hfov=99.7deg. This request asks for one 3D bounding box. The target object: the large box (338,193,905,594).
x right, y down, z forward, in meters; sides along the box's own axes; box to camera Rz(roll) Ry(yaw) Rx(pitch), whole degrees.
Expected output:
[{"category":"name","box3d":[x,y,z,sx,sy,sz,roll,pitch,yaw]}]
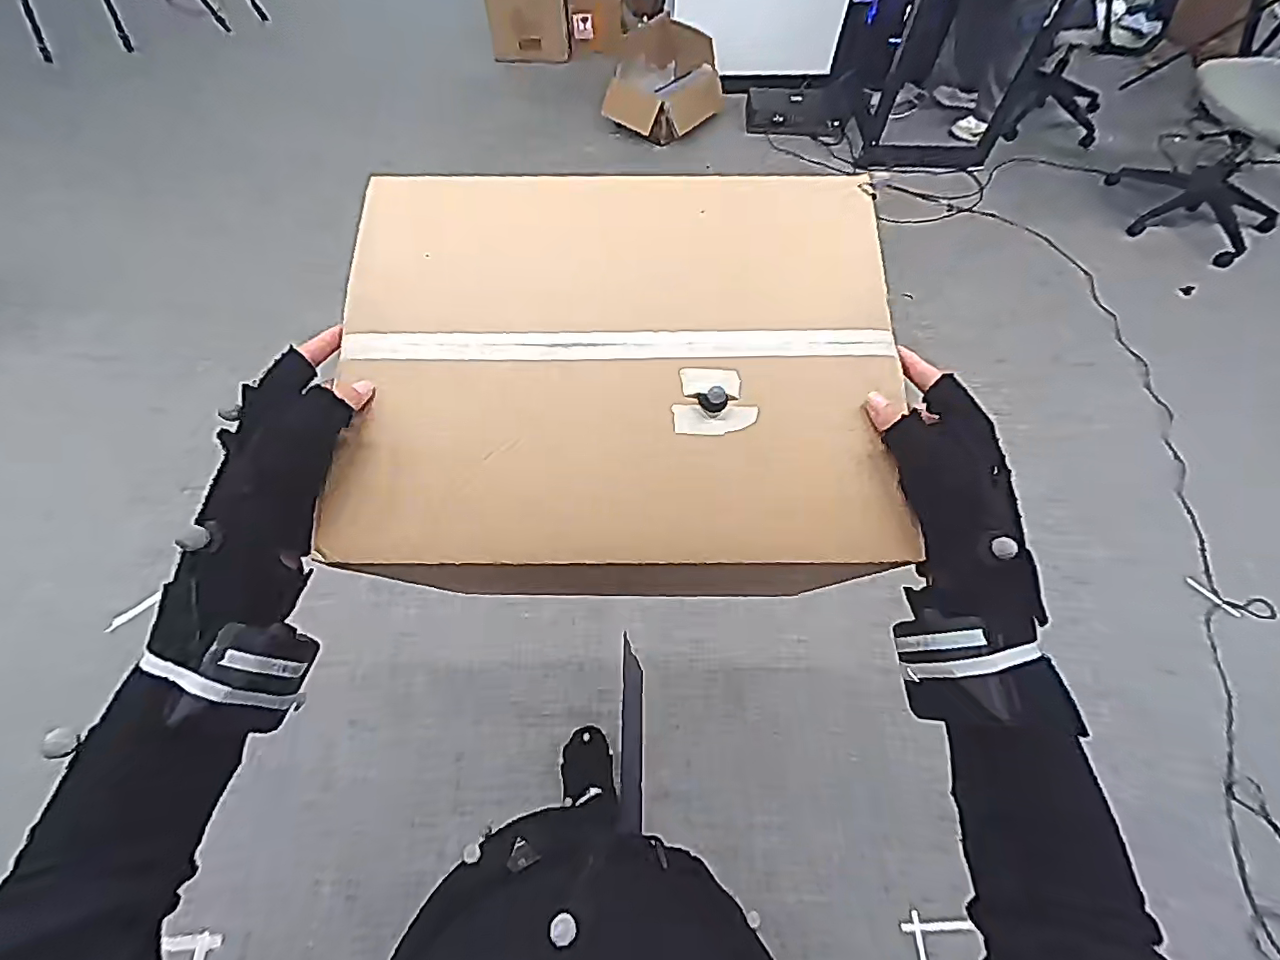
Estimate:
[{"category":"large box","box3d":[-0.017,-0.054,0.557,0.408,0.320,0.320,0,75,-1]}]
